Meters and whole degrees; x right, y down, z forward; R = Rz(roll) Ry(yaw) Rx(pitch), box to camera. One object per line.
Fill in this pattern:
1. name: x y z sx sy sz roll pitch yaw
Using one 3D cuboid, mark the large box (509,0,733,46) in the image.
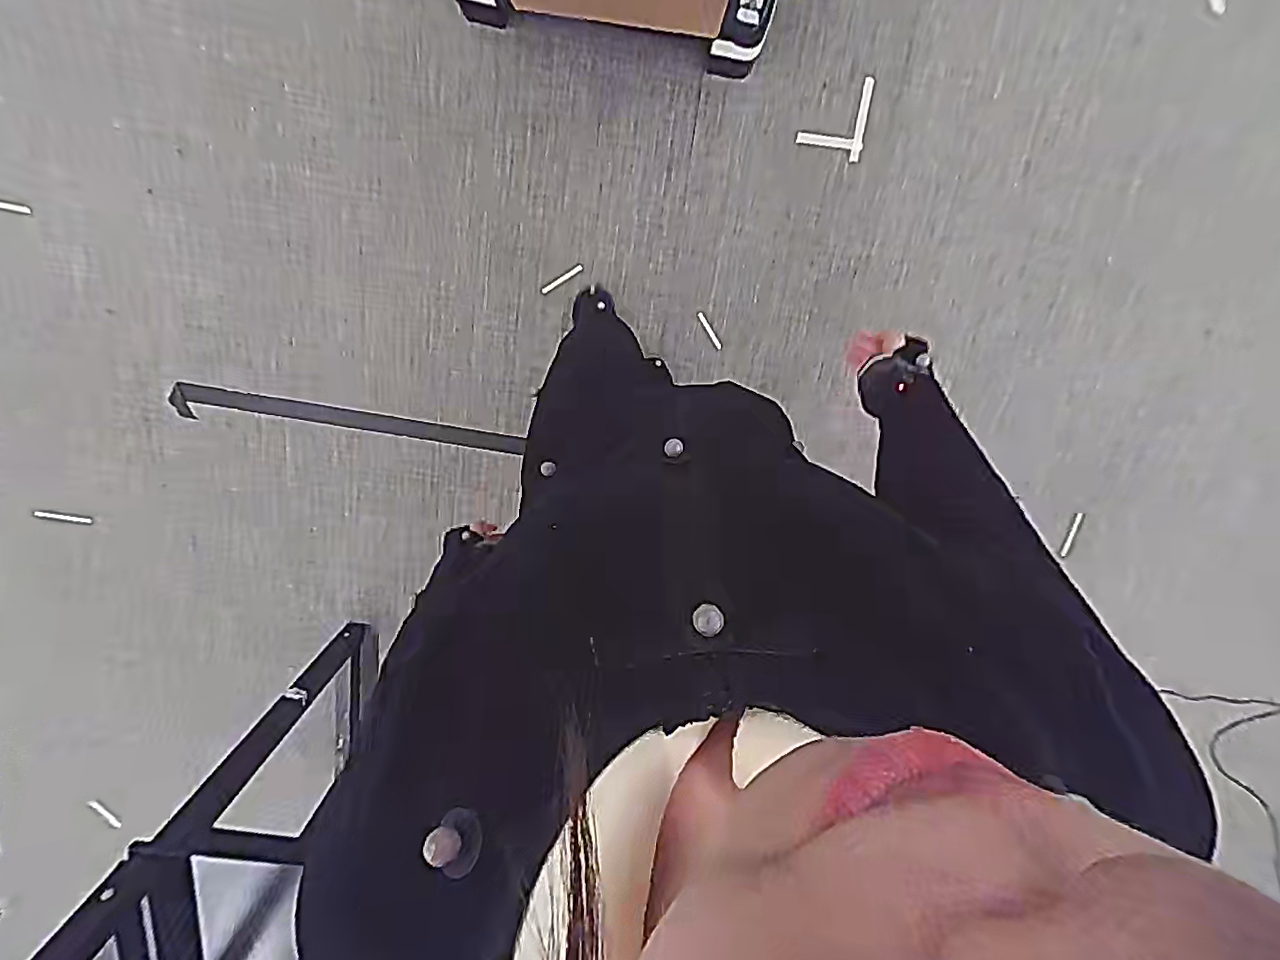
1. large box: -0.027 -0.970 0.876 0.408 0.320 0.320 6 105 -1
